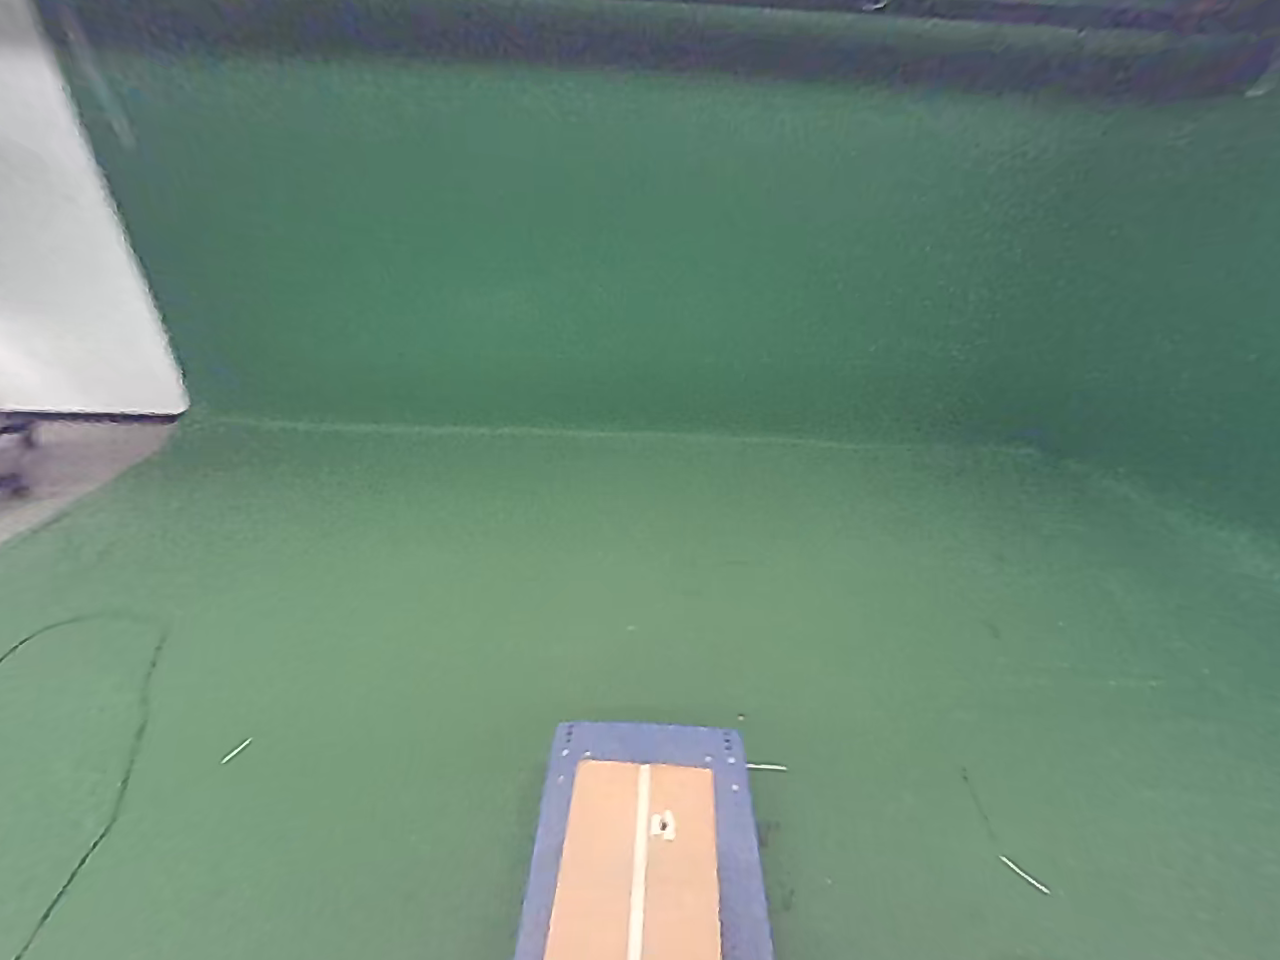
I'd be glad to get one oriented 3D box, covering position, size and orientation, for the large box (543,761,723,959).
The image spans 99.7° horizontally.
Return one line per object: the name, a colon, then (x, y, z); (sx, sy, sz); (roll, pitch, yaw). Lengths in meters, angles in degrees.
large box: (-0.006, 0.884, 1.143); (0.320, 0.320, 0.408); (4, 29, 2)
